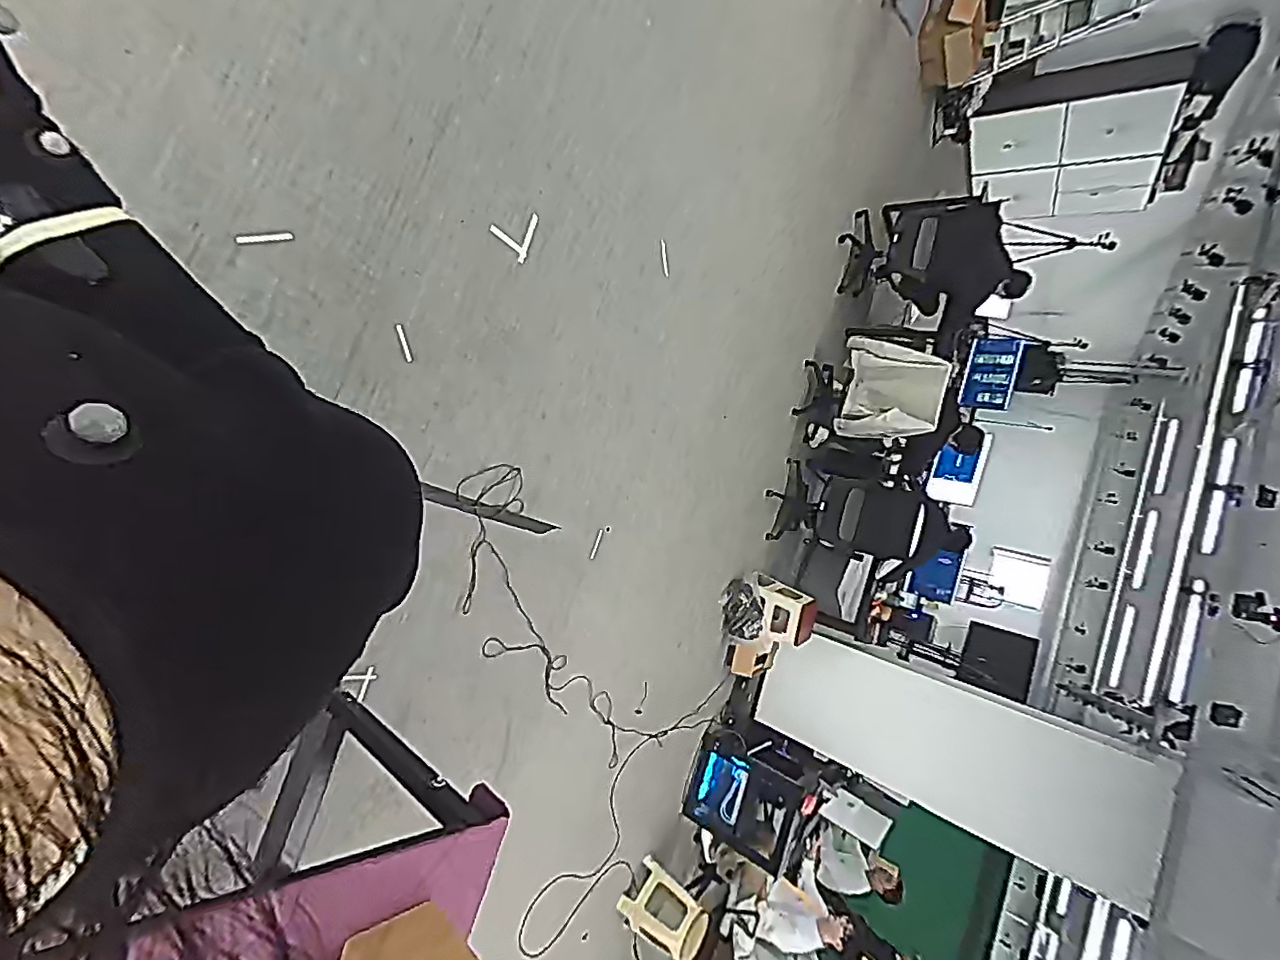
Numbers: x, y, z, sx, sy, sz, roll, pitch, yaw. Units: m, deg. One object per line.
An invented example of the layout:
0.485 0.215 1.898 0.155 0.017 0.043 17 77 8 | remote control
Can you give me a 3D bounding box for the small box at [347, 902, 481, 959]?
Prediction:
-0.423 0.912 0.960 0.179 0.176 0.168 22 85 -54 | small box
